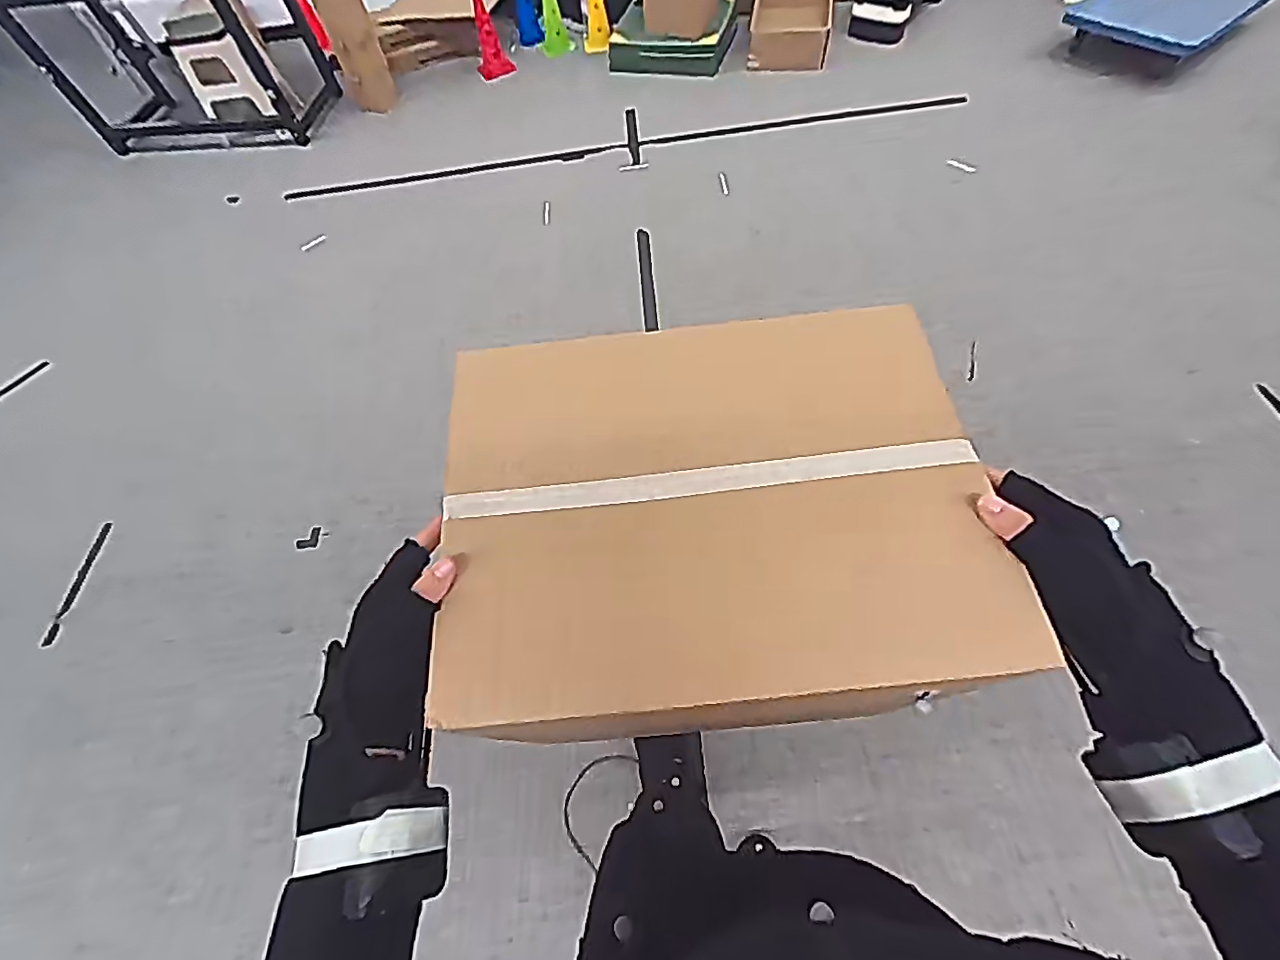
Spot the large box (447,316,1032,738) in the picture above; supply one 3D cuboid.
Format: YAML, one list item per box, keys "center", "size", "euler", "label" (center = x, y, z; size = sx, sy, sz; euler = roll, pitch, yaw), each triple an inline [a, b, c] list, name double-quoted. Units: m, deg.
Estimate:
- center: [0.063, 0.075, 0.560]
  size: [0.408, 0.320, 0.320]
  euler: [-7, 62, 1]
  label: "large box"
